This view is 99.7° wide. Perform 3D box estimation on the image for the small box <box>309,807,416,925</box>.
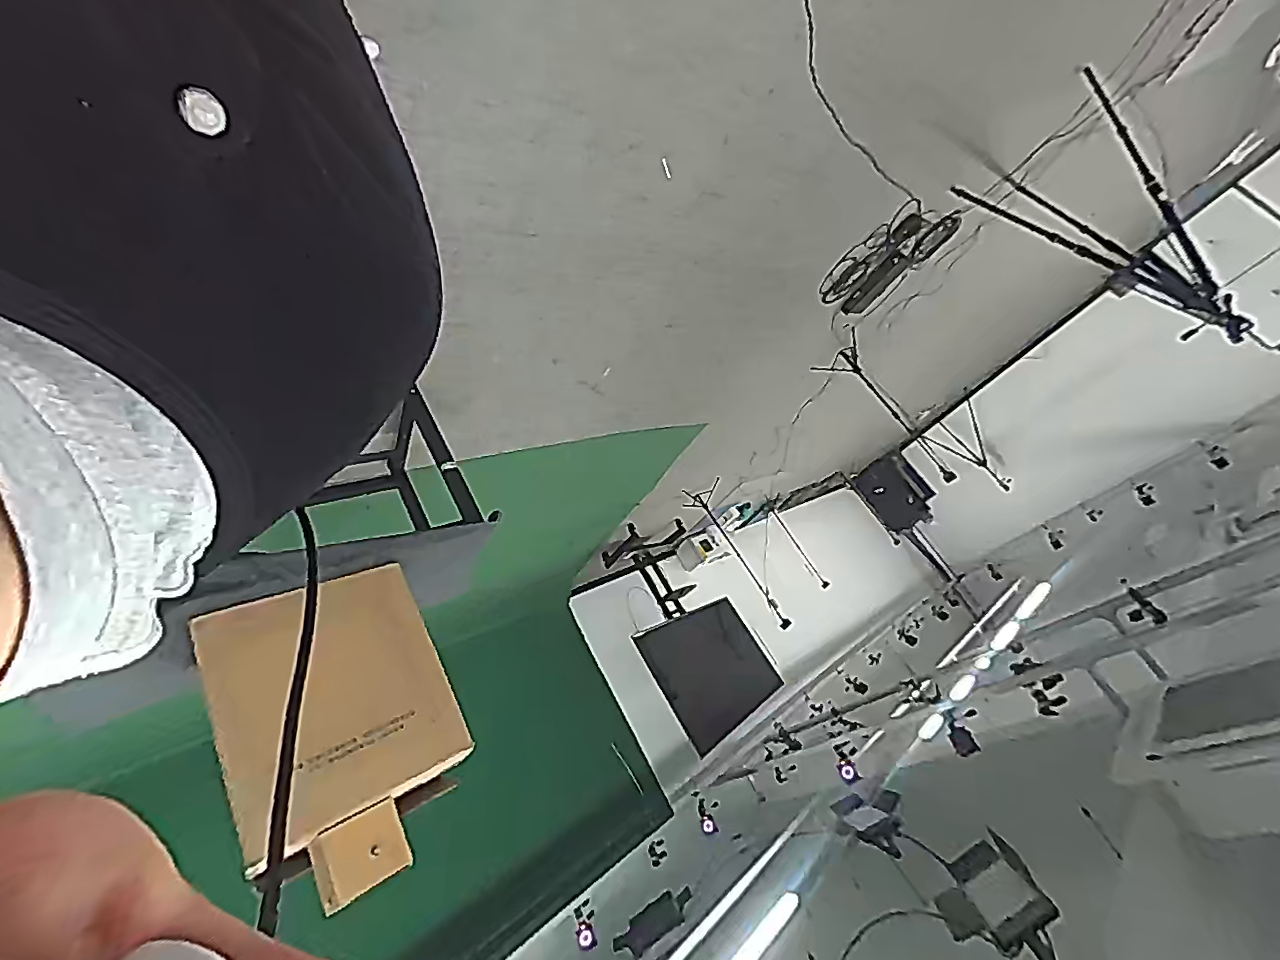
[{"bbox_3d":[-0.700,0.962,1.359,0.179,0.176,0.168,-10,150,-47],"label":"small box"}]
